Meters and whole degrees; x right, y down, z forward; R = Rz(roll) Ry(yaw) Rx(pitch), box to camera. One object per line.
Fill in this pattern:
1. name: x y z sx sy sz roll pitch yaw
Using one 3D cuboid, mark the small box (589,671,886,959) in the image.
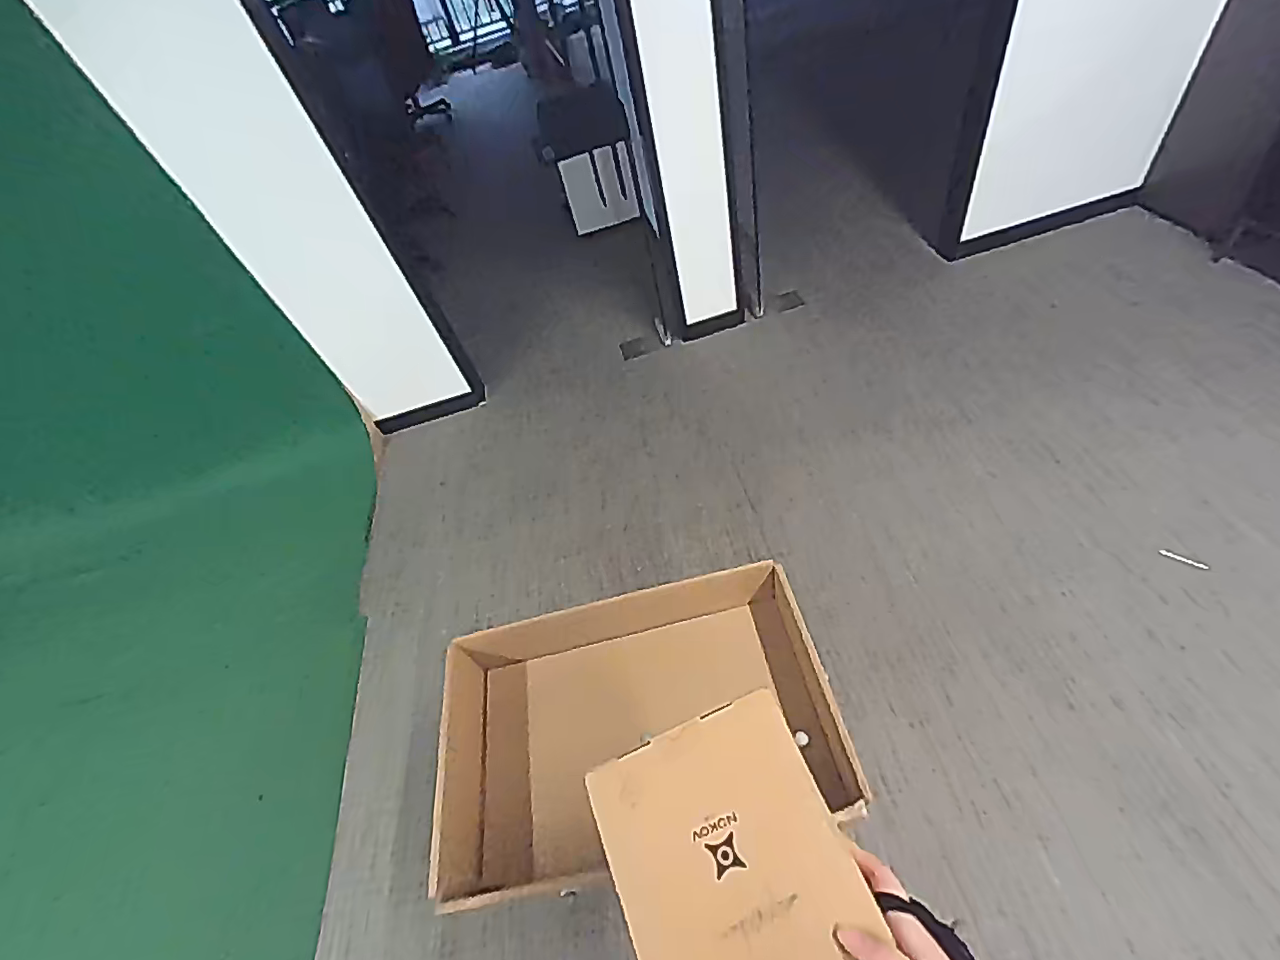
1. small box: 0.075 0.293 0.467 0.168 0.176 0.179 -24 59 0
